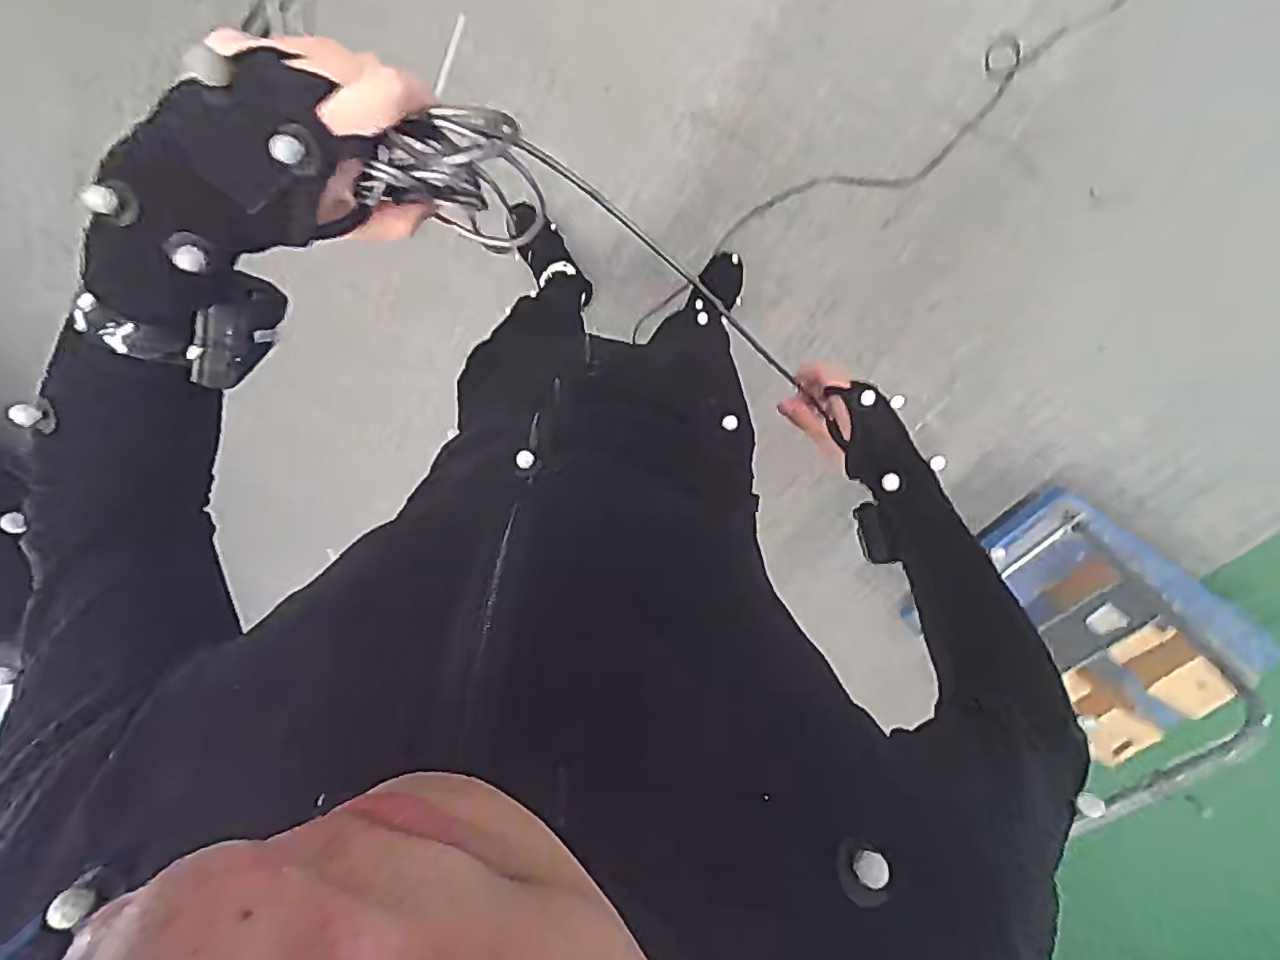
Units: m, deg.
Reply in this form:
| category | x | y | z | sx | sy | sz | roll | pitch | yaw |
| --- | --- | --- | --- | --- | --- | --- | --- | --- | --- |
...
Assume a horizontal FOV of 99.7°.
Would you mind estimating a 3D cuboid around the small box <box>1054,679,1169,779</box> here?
| category | x | y | z | sx | sy | sz | roll | pitch | yaw |
| --- | --- | --- | --- | --- | --- | --- | --- | --- | --- |
| small box | 1.323 | 0.706 | 1.547 | 0.179 | 0.176 | 0.168 | 30 | 117 | -5 |

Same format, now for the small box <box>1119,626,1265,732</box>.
| category | x | y | z | sx | sy | sz | roll | pitch | yaw |
| --- | --- | --- | --- | --- | --- | --- | --- | --- | --- |
| small box | 1.443 | 0.517 | 1.432 | 0.179 | 0.176 | 0.168 | 30 | 118 | -6 |

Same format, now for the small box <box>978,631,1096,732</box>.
| category | x | y | z | sx | sy | sz | roll | pitch | yaw |
| --- | --- | --- | --- | --- | --- | --- | --- | --- | --- |
| small box | 1.100 | 0.559 | 1.514 | 0.179 | 0.176 | 0.168 | 35 | 117 | -7 |
